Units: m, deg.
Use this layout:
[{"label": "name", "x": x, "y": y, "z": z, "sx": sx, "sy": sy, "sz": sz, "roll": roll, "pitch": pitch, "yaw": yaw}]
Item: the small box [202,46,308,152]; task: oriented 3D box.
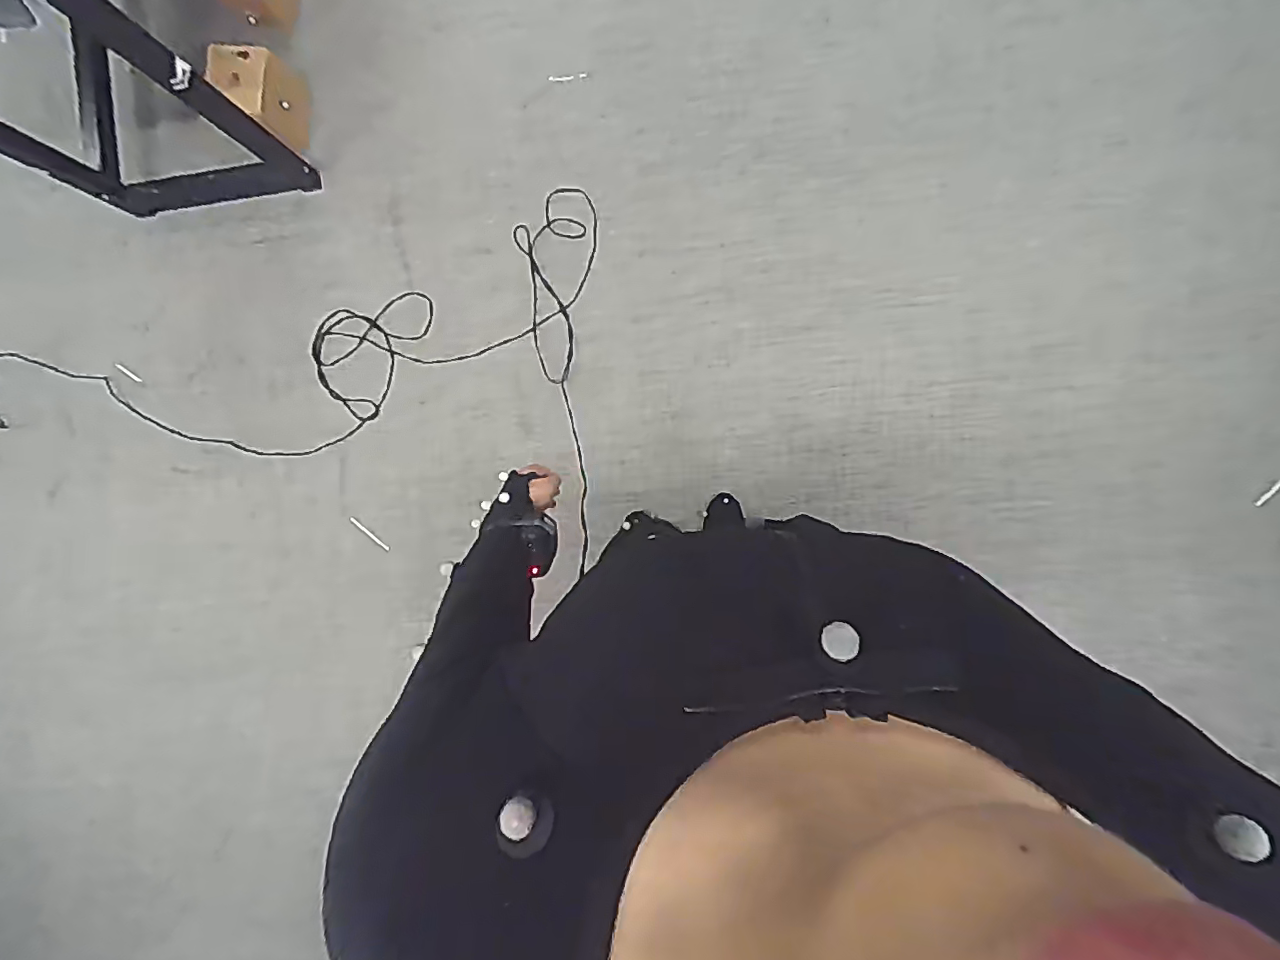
[{"label": "small box", "x": -1.038, "y": -1.025, "z": 1.470, "sx": 0.168, "sy": 0.176, "sz": 0.179, "roll": 7, "pitch": 92, "yaw": 4}]

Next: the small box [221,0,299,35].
[{"label": "small box", "x": -1.056, "y": -1.372, "z": 1.465, "sx": 0.168, "sy": 0.176, "sz": 0.179, "roll": 15, "pitch": 93, "yaw": 4}]
